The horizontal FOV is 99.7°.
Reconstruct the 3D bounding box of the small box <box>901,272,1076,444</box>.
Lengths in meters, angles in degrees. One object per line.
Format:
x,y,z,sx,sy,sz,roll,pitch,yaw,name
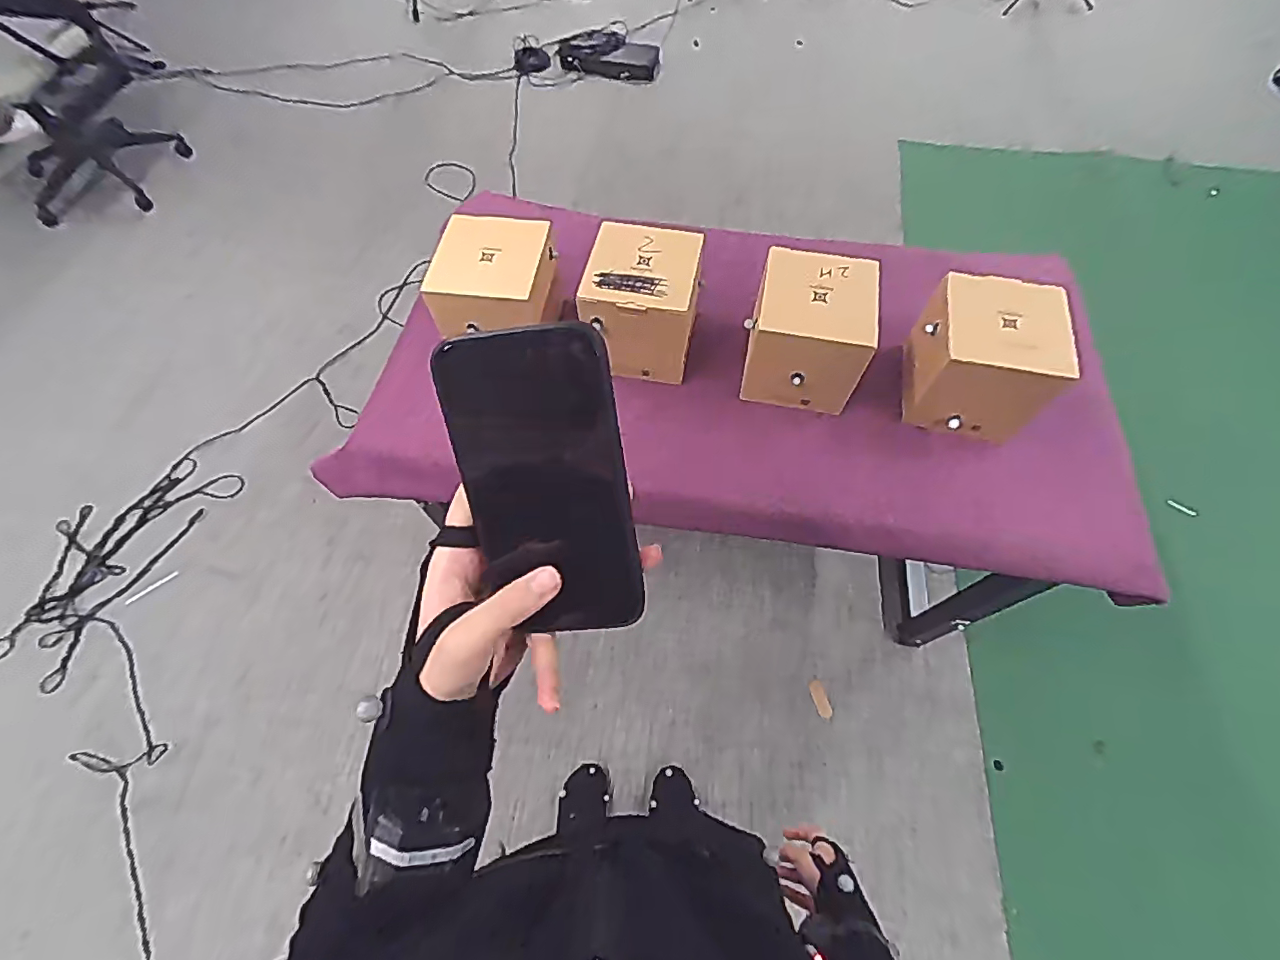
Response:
0.516,-0.183,0.829,0.168,0.176,0.179,12,62,8,small box

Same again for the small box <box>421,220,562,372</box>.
-0.232,-0.301,0.902,0.168,0.176,0.179,5,61,4,small box

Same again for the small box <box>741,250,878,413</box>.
0.261,-0.228,0.855,0.168,0.176,0.179,11,62,6,small box
